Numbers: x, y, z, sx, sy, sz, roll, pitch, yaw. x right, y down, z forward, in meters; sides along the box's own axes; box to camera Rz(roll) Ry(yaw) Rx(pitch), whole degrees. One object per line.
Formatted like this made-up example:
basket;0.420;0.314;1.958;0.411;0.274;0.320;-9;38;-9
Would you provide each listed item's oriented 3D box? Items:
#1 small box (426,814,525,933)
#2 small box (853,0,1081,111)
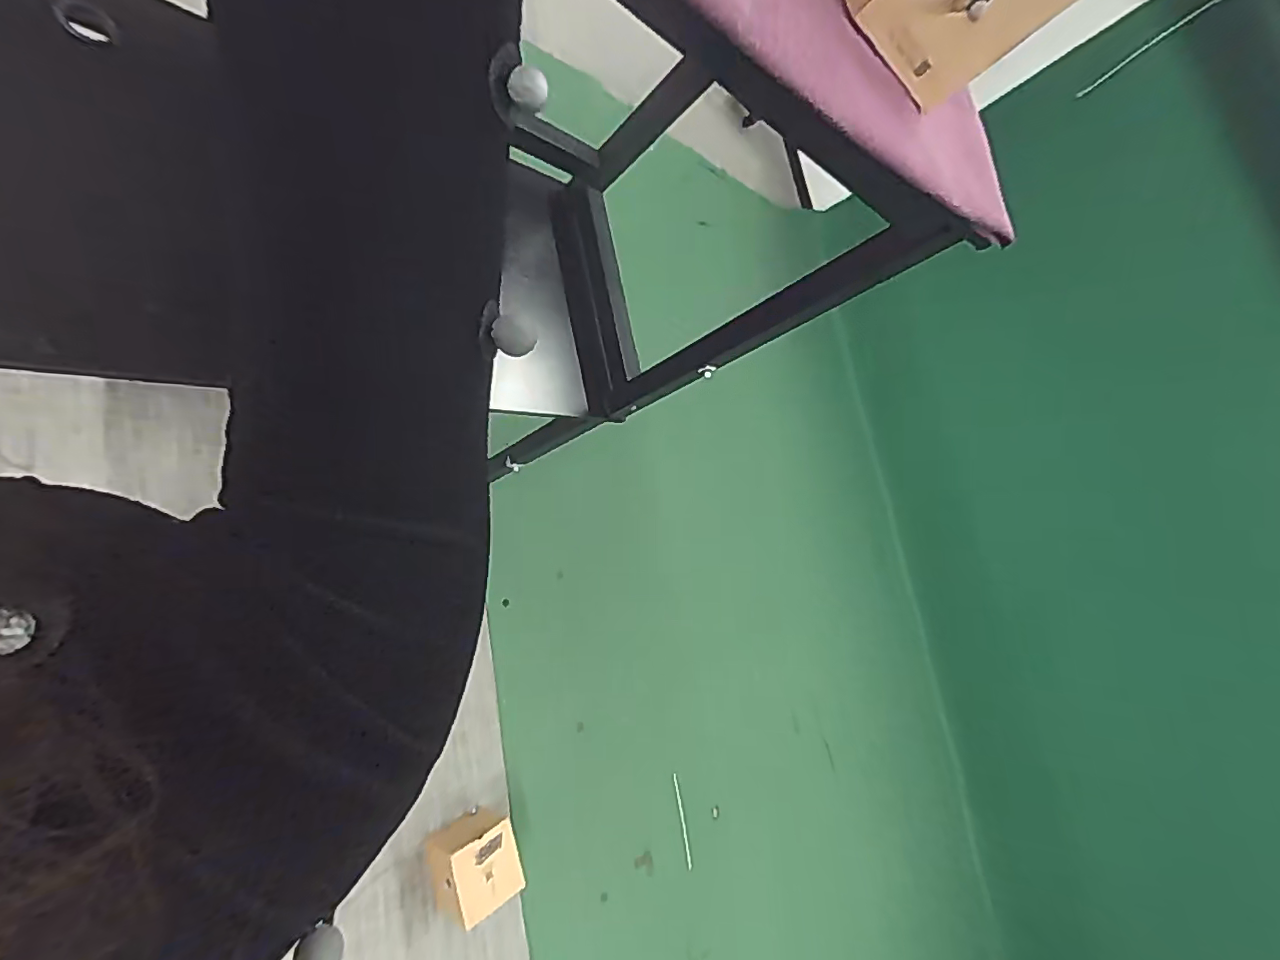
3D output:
small box;-0.421;0.977;1.367;0.168;0.176;0.179;-10;83;-44
small box;0.298;-0.499;0.498;0.168;0.176;0.179;8;68;-41
